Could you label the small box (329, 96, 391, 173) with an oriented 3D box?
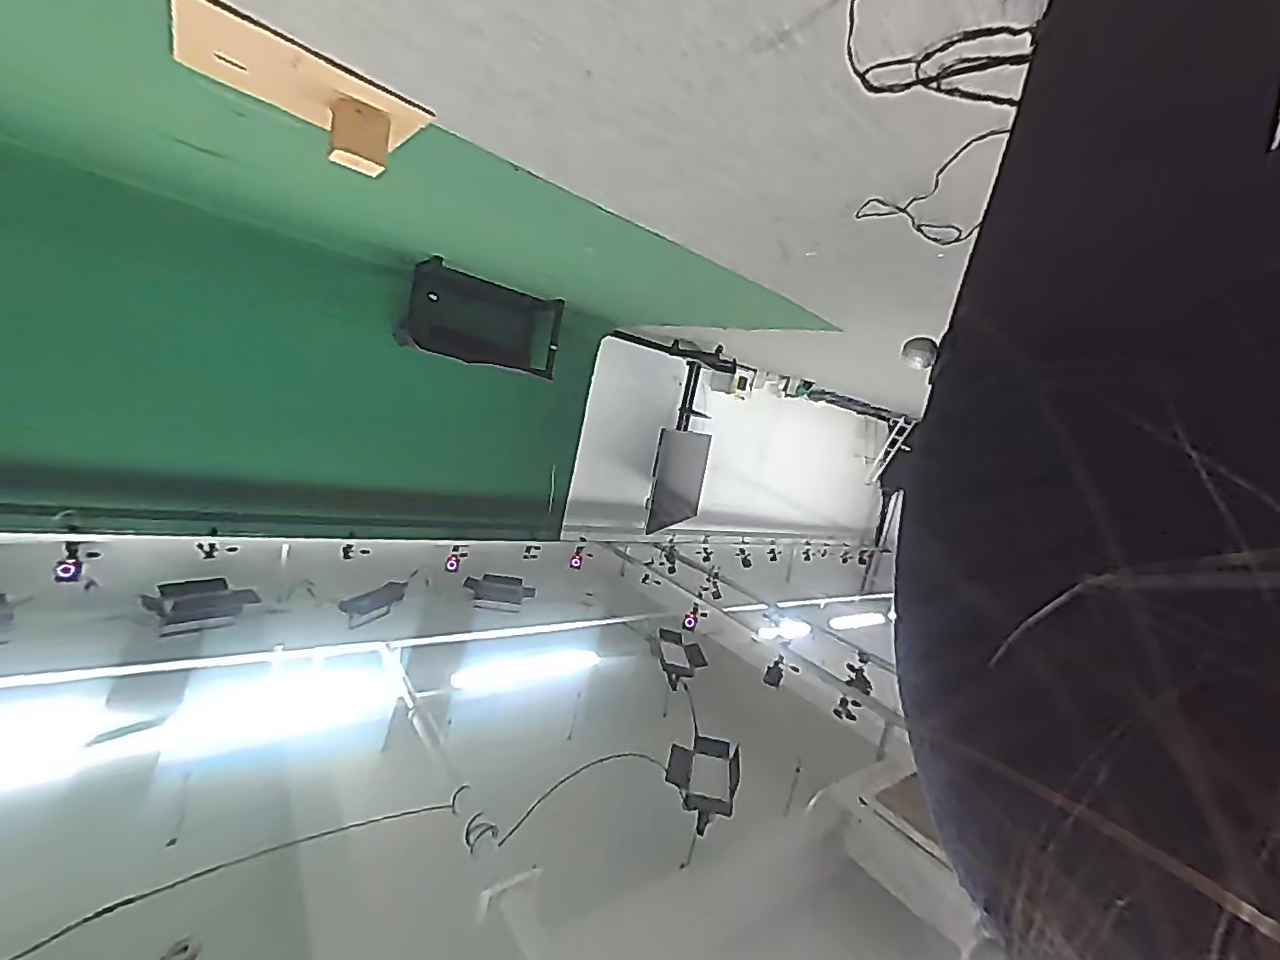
[{"bbox_3d":[-1.031,-1.266,1.989,0.168,0.176,0.179,4,-169,-40],"label":"small box"}]
